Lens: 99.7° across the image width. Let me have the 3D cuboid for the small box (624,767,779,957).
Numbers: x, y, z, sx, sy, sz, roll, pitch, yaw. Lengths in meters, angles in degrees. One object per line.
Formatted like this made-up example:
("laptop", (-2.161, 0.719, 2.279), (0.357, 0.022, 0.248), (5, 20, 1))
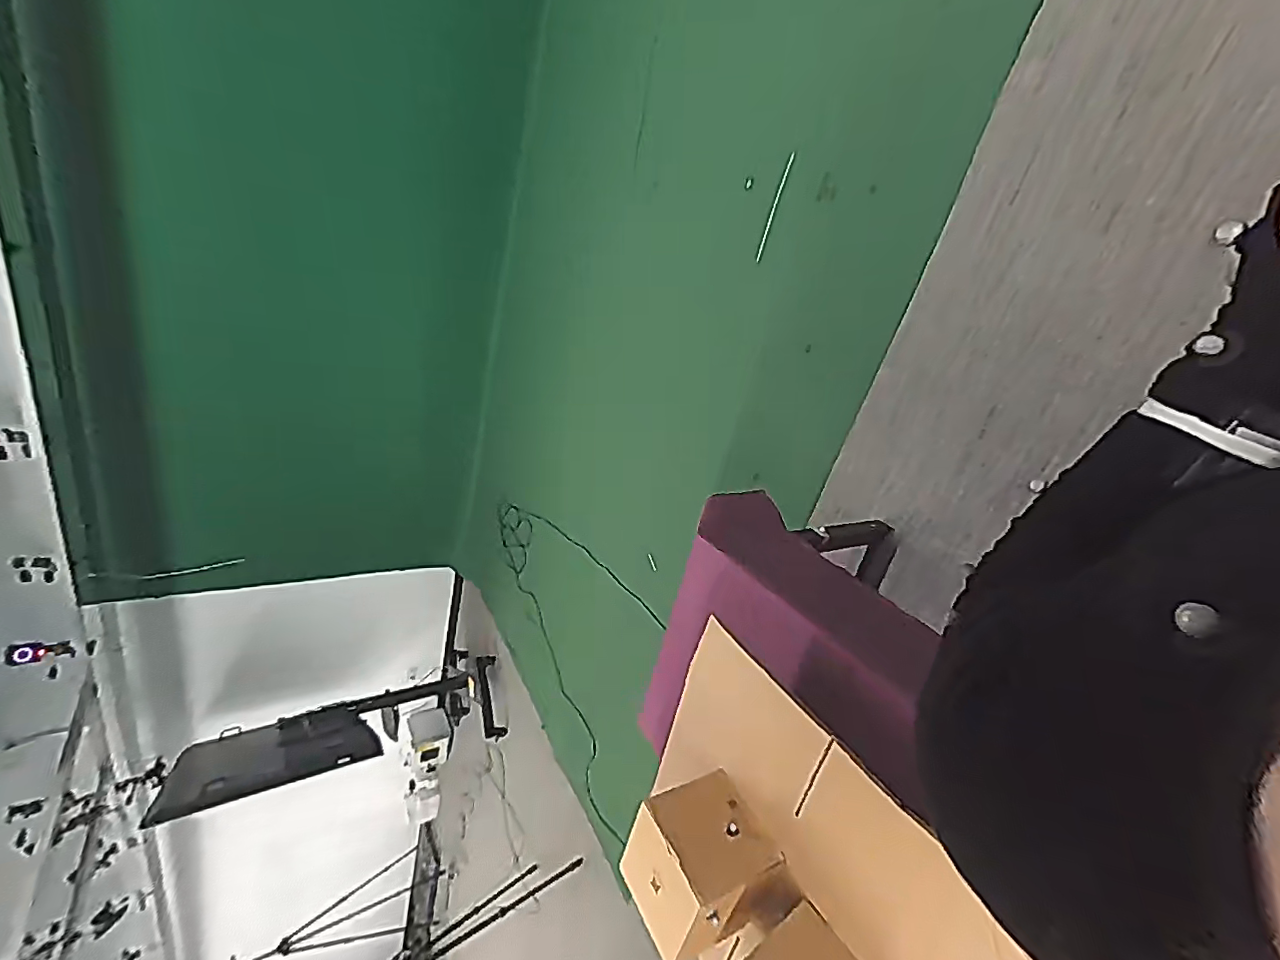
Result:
("small box", (0.099, 0.614, 0.888), (0.168, 0.176, 0.179), (43, 124, 49))
